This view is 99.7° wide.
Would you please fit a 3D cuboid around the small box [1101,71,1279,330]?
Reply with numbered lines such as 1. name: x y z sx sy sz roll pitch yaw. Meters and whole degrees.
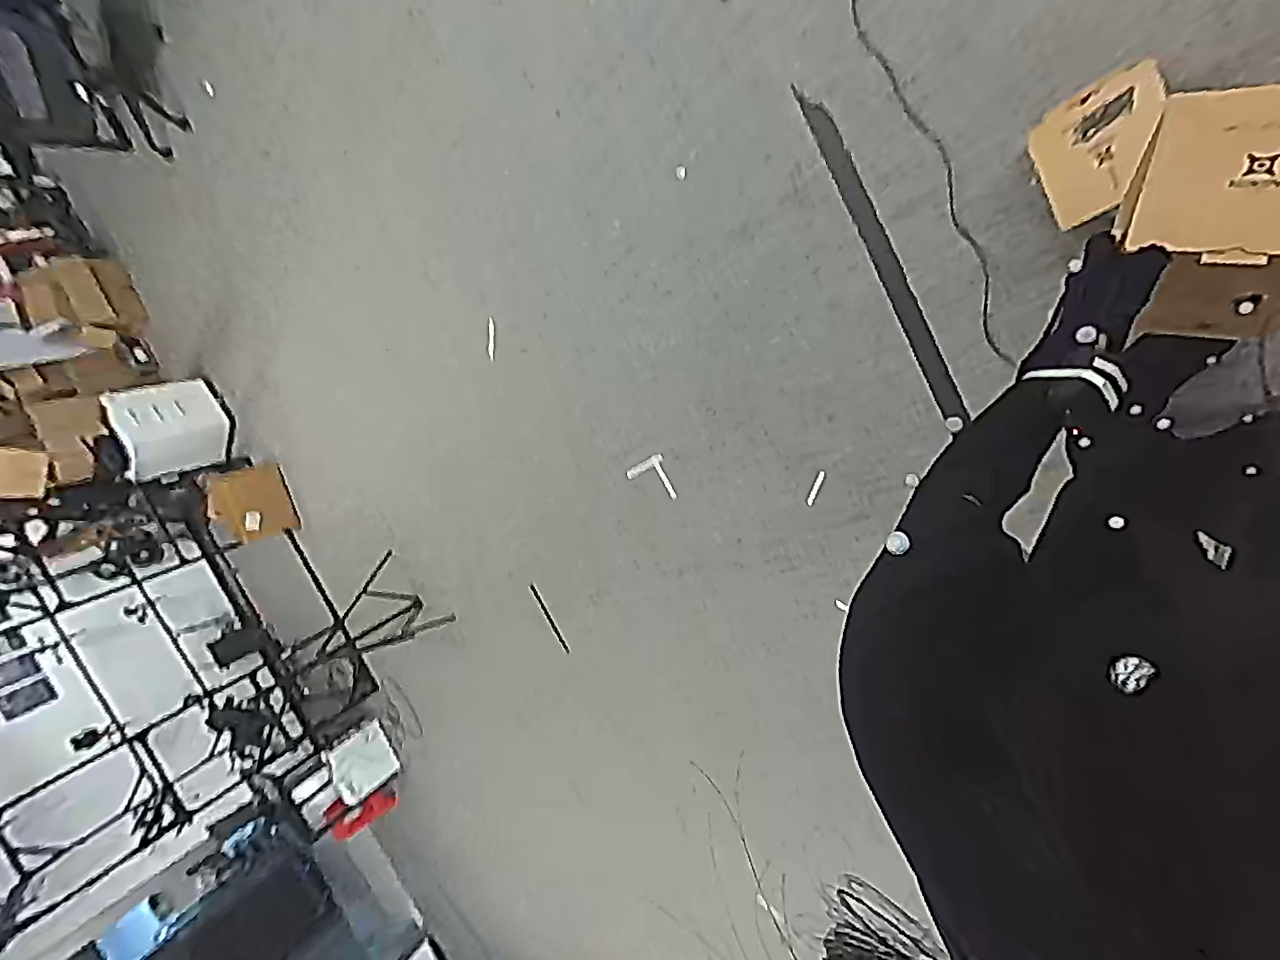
1. small box: 0.605 -0.271 0.549 0.168 0.176 0.179 16 86 31

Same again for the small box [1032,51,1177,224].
1. small box: 0.777 -0.548 0.897 0.168 0.176 0.179 -23 95 42
